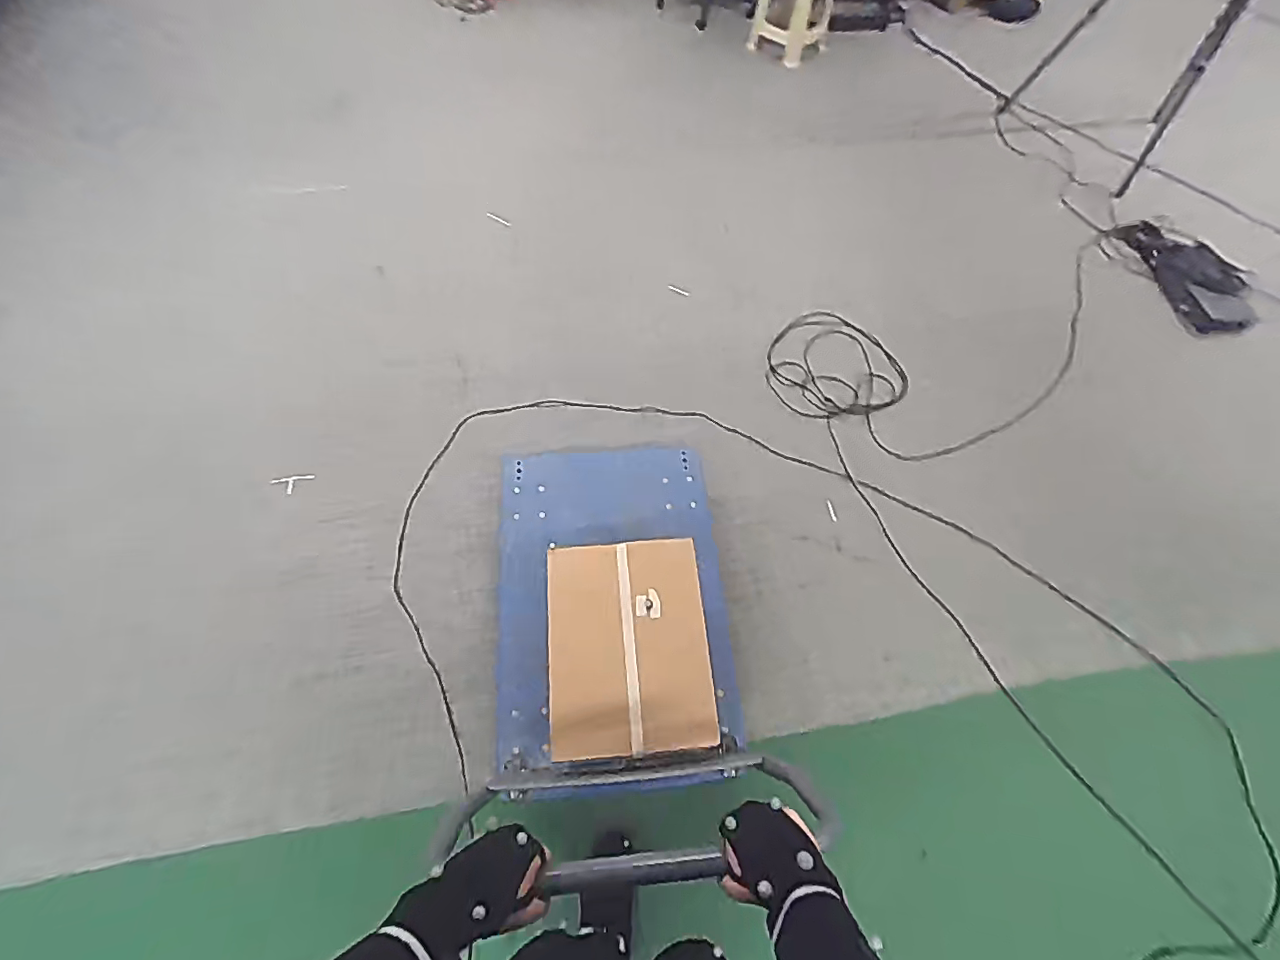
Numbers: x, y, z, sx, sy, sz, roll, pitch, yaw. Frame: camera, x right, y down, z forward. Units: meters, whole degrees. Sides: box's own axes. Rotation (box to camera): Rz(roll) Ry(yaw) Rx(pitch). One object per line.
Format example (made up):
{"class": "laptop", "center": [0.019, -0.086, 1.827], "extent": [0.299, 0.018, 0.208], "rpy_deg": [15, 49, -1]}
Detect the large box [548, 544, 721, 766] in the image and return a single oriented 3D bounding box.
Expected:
{"class": "large box", "center": [-0.027, 0.392, 1.200], "extent": [0.320, 0.320, 0.408], "rpy_deg": [-3, 63, -5]}
